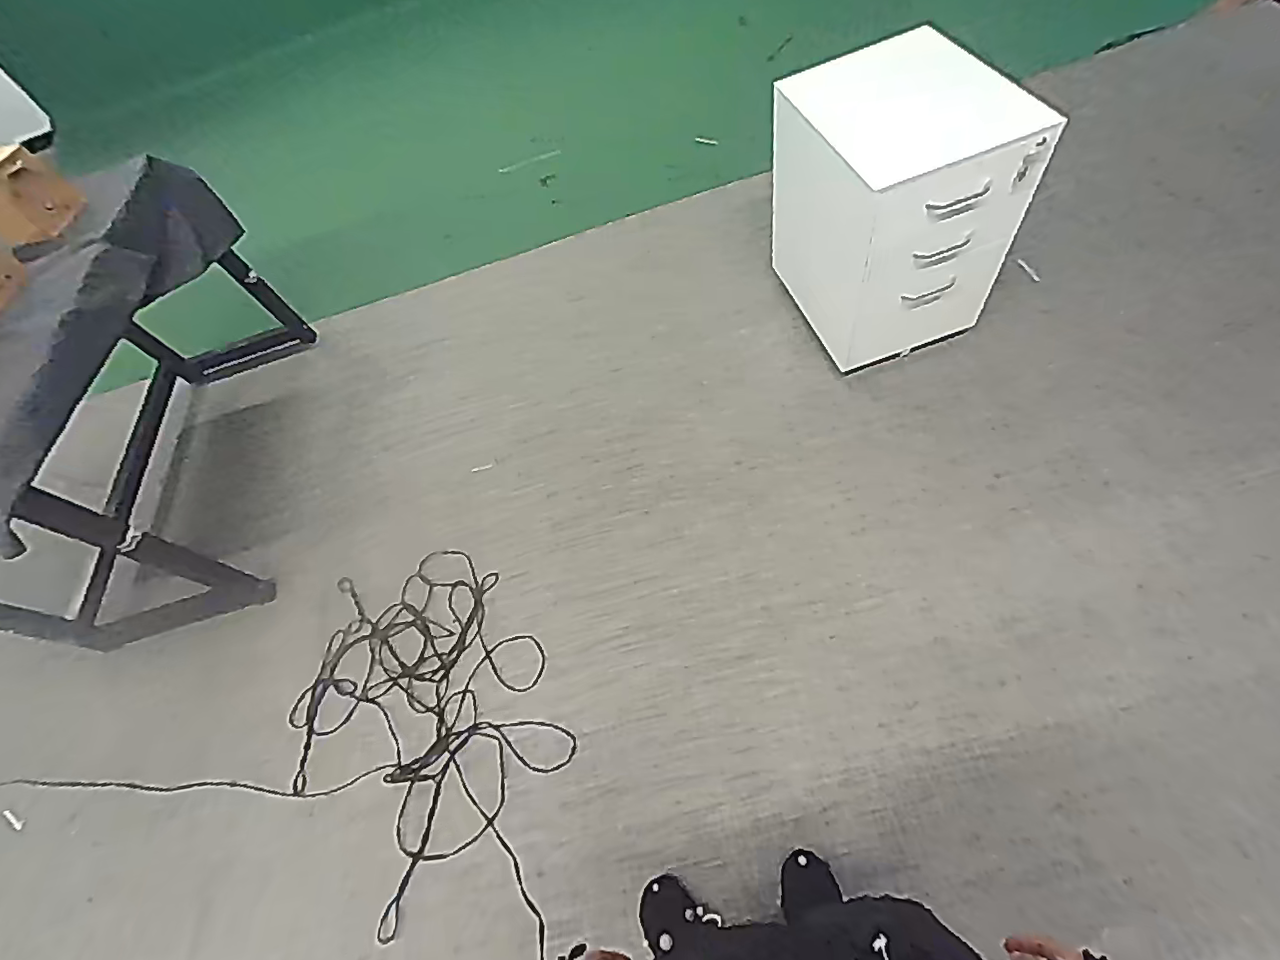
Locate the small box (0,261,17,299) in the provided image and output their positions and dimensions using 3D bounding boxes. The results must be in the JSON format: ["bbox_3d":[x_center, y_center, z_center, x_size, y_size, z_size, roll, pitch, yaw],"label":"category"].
[{"bbox_3d":[-1.669,-0.482,1.280,0.179,0.176,0.168,-14,57,6],"label":"small box"}]

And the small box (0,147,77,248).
[{"bbox_3d":[-1.680,-0.740,1.429,0.179,0.176,0.168,-3,60,12],"label":"small box"}]
